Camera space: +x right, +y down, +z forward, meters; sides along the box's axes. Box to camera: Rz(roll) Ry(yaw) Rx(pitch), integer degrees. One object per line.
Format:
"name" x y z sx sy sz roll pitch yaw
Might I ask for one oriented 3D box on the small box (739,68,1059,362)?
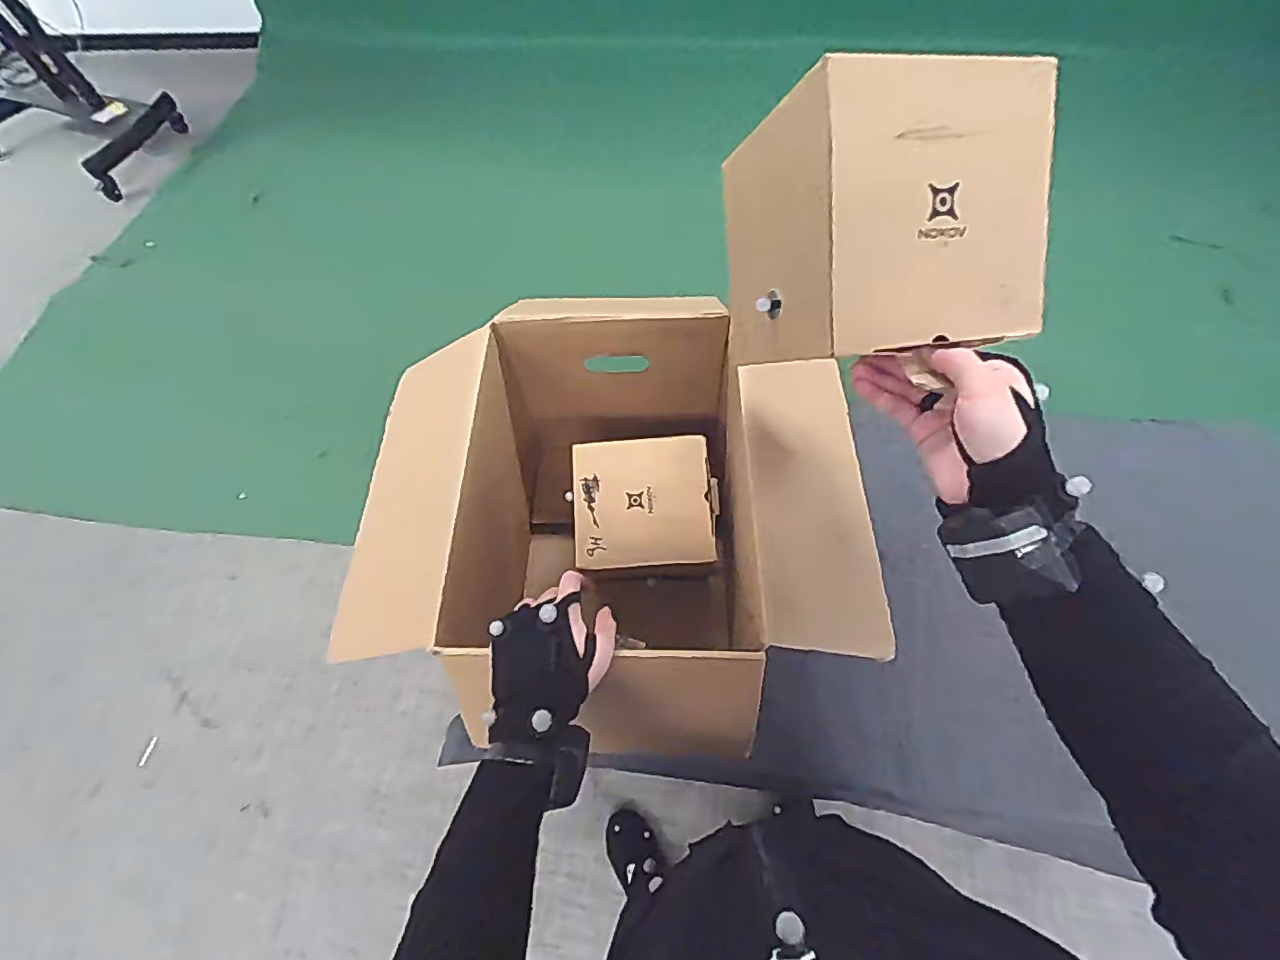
"small box" 0.189 -0.189 0.439 0.168 0.176 0.179 -7 100 -12
